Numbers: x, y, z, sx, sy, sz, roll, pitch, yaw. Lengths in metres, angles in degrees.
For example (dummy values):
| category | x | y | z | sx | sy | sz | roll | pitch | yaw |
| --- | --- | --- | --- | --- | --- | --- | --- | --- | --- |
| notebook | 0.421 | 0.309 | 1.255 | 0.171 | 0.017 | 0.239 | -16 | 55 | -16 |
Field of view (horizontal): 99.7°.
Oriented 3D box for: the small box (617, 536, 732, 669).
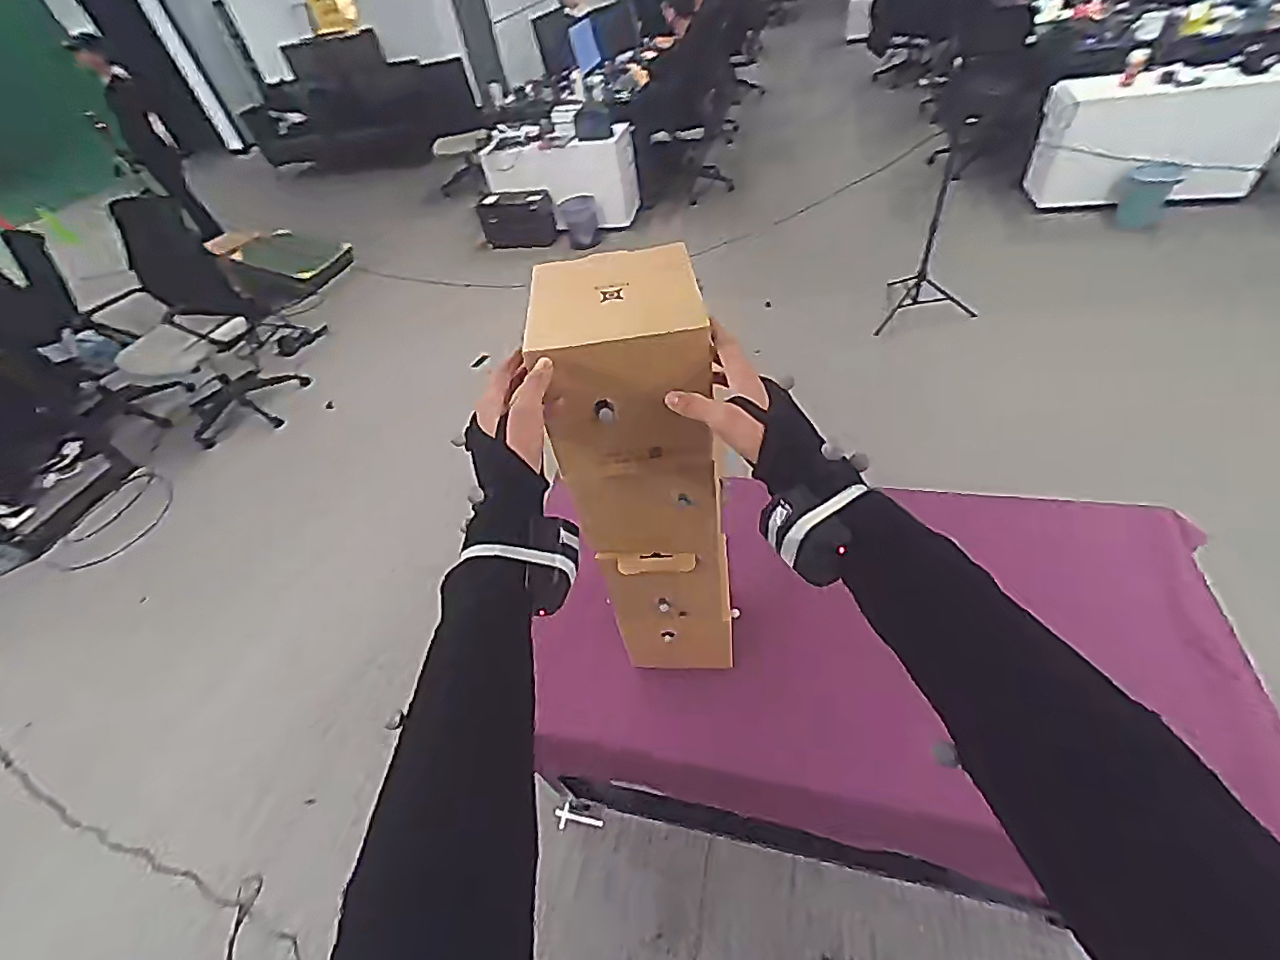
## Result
| category | x | y | z | sx | sy | sz | roll | pitch | yaw |
| --- | --- | --- | --- | --- | --- | --- | --- | --- | --- |
| small box | 0.065 | 0.213 | 0.930 | 0.179 | 0.176 | 0.168 | -3 | 47 | 7 |

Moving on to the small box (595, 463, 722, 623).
| category | x | y | z | sx | sy | sz | roll | pitch | yaw |
| --- | --- | --- | --- | --- | --- | --- | --- | --- | --- |
| small box | 0.035 | 0.097 | 0.818 | 0.168 | 0.176 | 0.179 | -4 | 46 | 8 |

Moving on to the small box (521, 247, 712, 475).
| category | x | y | z | sx | sy | sz | roll | pitch | yaw |
| --- | --- | --- | --- | --- | --- | --- | --- | --- | --- |
| small box | -0.018 | -0.120 | 0.577 | 0.168 | 0.176 | 0.179 | -8 | 45 | 2 |
